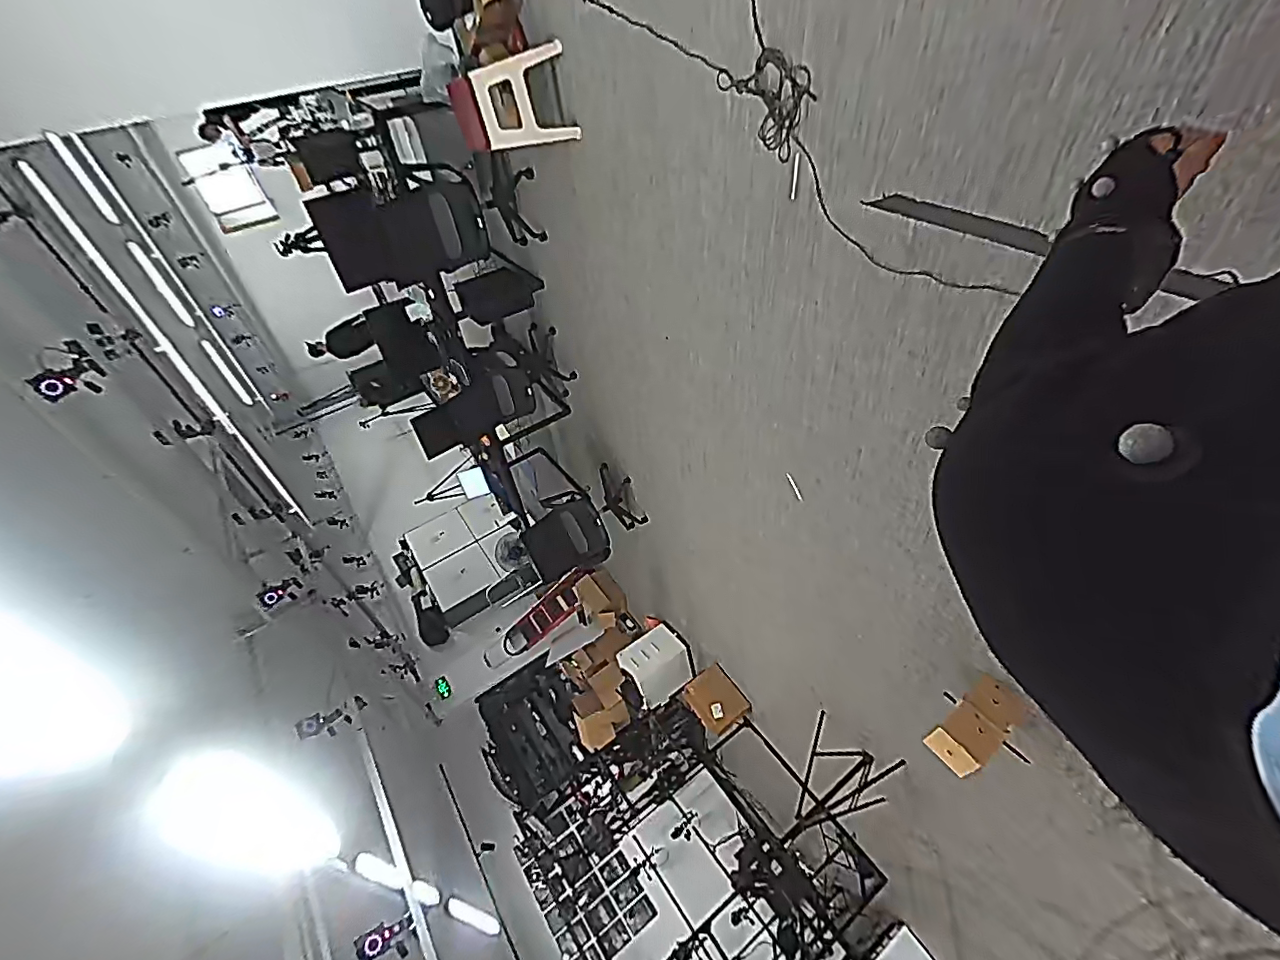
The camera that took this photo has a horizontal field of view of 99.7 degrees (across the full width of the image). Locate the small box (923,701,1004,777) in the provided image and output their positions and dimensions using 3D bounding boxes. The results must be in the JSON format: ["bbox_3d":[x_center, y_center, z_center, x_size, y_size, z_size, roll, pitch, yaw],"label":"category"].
[{"bbox_3d":[1.201,0.959,2.005,0.168,0.176,0.179,45,153,33],"label":"small box"}]

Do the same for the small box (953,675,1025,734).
[{"bbox_3d":[1.330,0.883,2.071,0.168,0.176,0.179,42,153,39],"label":"small box"}]
